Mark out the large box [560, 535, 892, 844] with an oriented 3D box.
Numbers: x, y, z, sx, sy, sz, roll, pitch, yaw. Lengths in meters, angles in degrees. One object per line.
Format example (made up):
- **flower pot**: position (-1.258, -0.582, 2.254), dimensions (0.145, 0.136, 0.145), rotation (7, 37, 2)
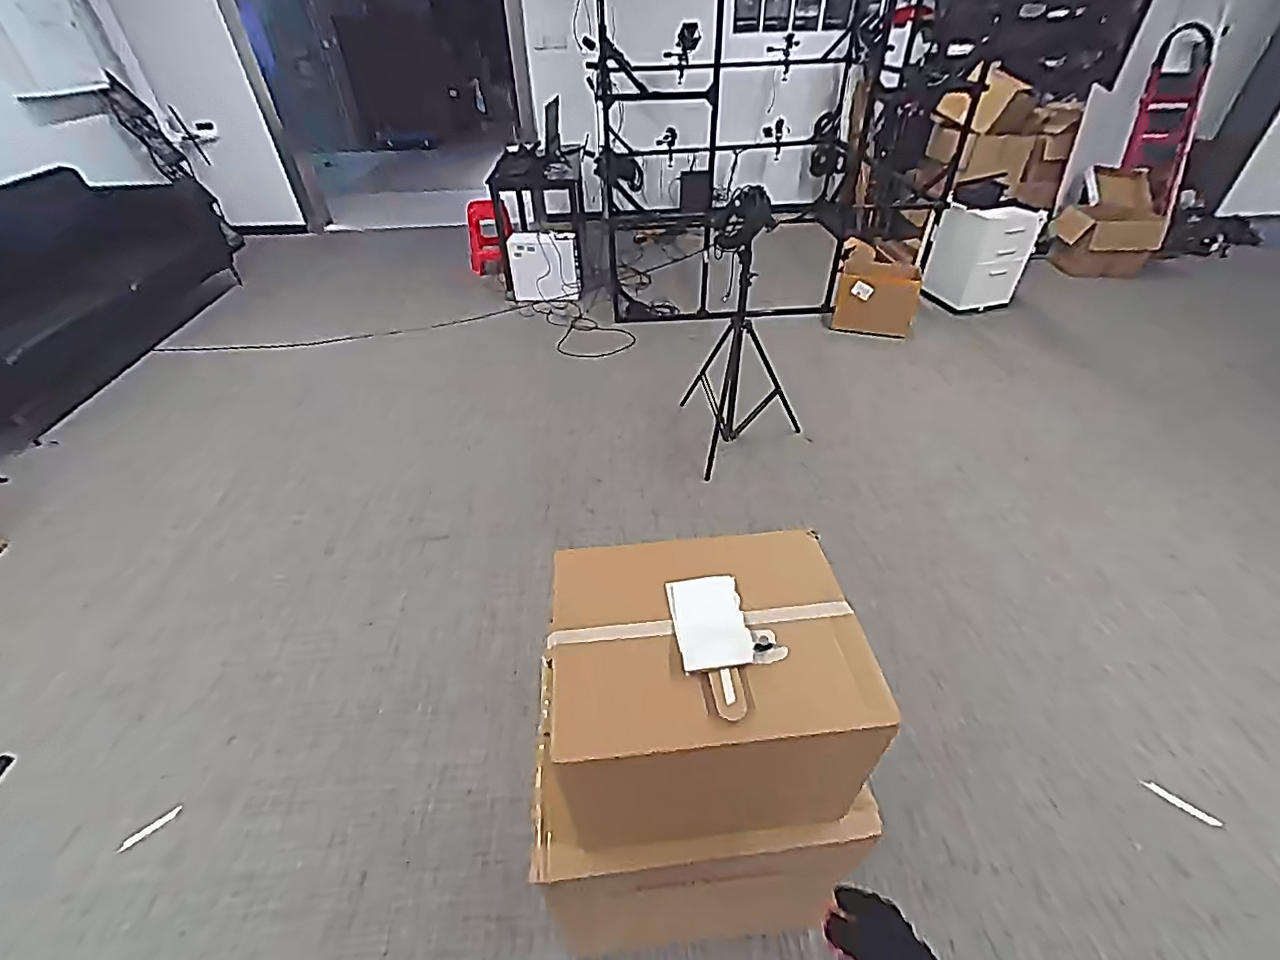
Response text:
- **large box**: position (0.091, 0.316, 0.837), dimensions (0.408, 0.320, 0.320), rotation (-4, 41, -4)
